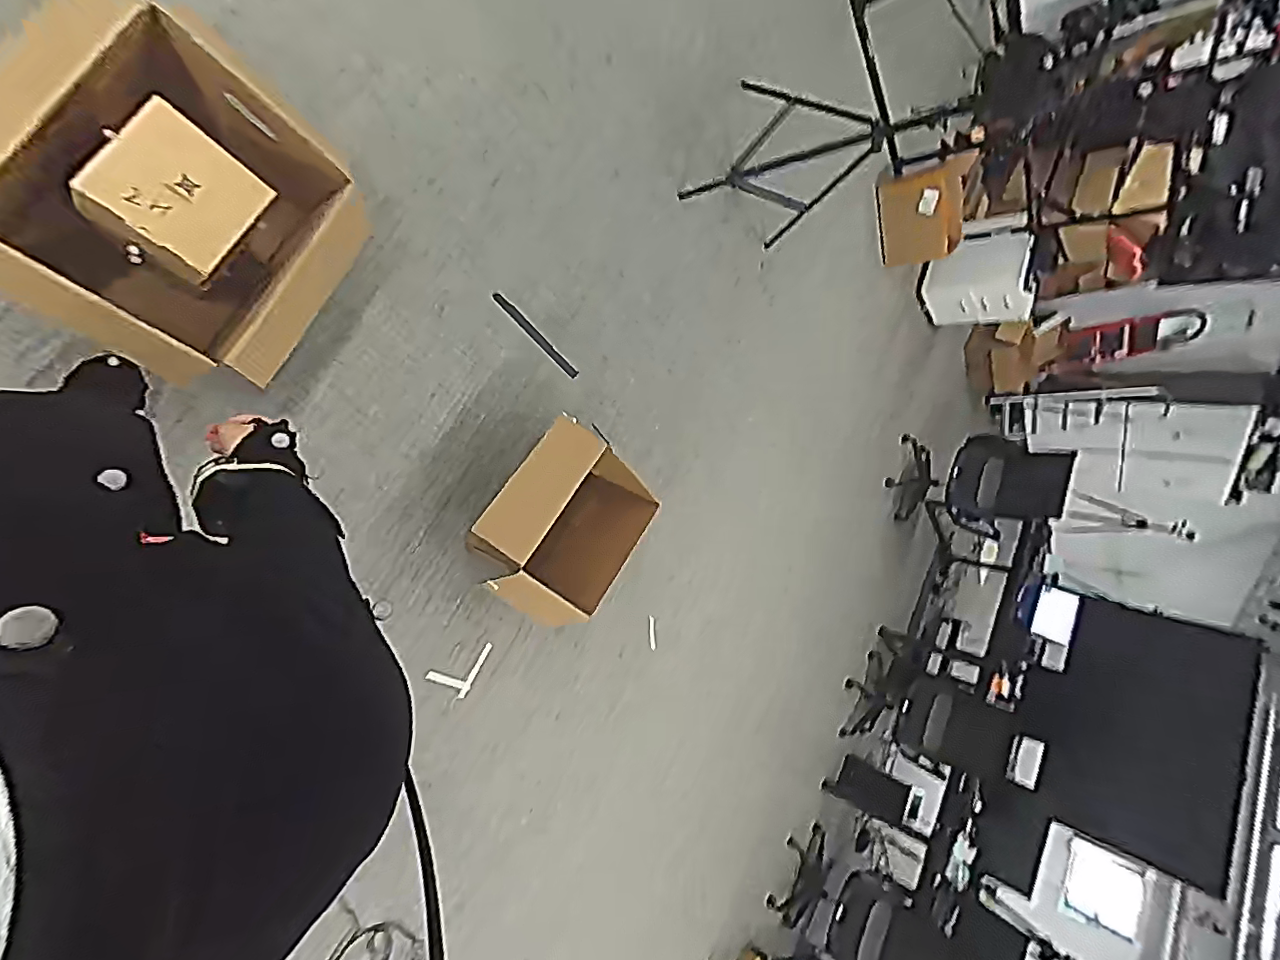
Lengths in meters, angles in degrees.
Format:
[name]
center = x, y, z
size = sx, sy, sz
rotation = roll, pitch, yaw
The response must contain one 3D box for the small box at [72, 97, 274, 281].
[small box]
center = -0.718, -0.435, 0.835
size = 0.168, 0.176, 0.179
rotation = 41, 70, -42
